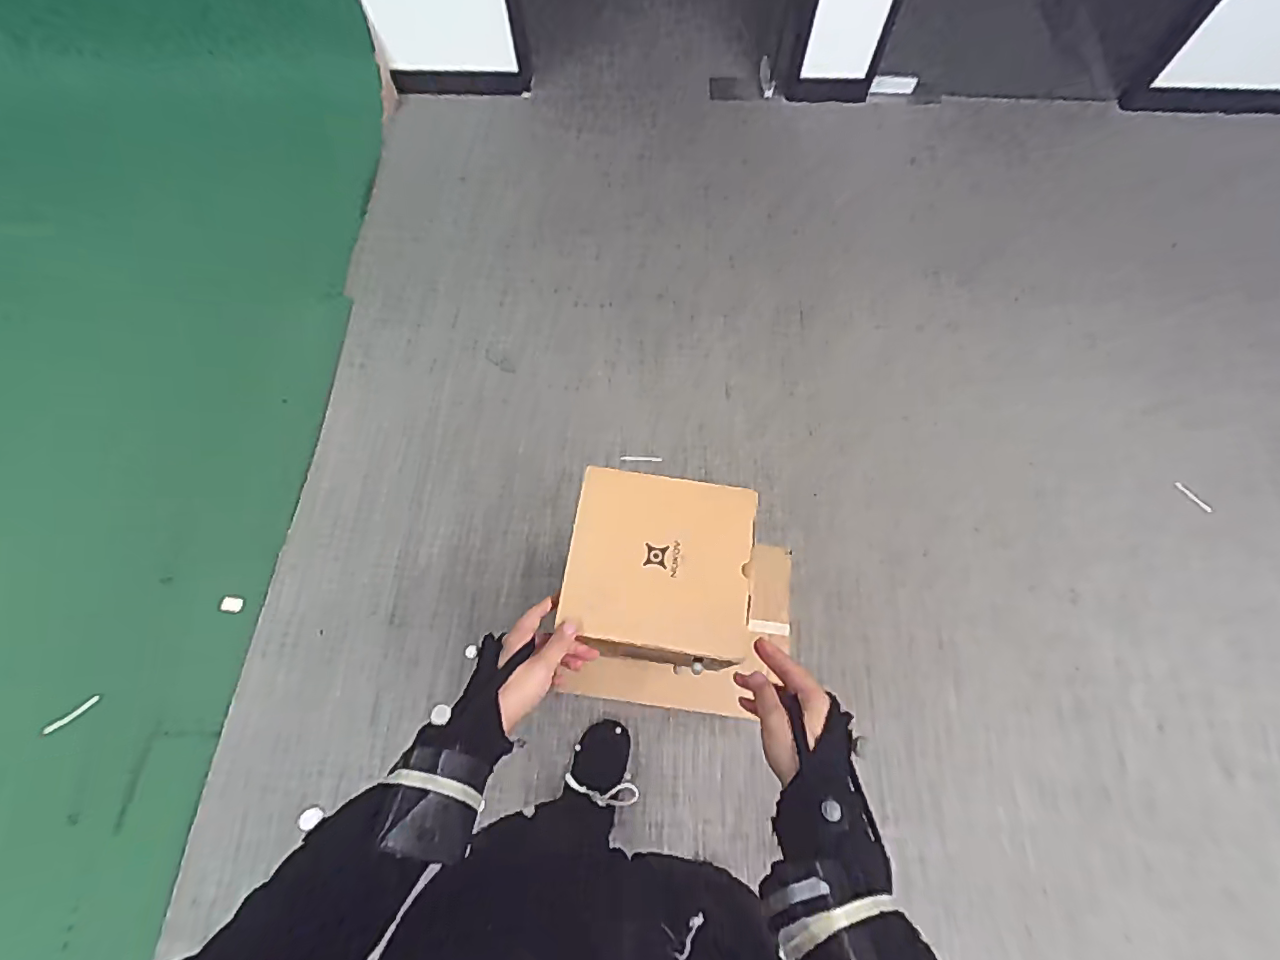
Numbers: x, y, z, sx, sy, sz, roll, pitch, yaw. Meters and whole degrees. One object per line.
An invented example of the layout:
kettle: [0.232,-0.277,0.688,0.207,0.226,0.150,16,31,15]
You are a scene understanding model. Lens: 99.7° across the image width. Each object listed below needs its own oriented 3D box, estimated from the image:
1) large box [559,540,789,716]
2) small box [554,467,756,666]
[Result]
large box: [0.066,0.298,1.118,0.408,0.320,0.320,7,69,1]
small box: [0.017,0.102,0.582,0.179,0.176,0.168,8,68,1]
